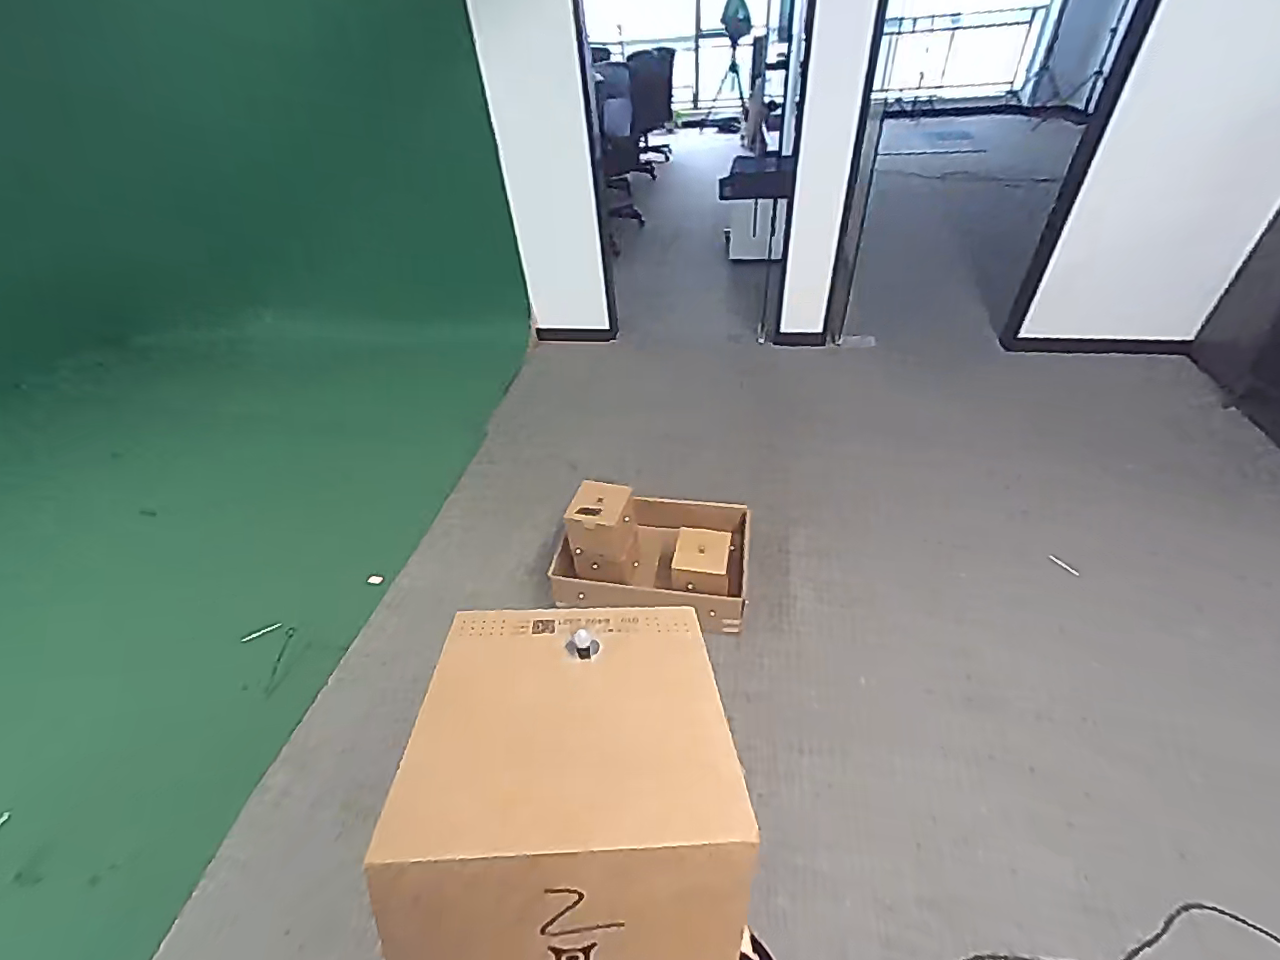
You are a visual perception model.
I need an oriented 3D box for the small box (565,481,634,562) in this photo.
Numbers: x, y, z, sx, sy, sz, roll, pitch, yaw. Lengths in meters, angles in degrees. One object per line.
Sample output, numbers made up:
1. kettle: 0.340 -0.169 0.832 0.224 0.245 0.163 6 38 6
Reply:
1. small box: -0.119 0.132 1.698 0.168 0.176 0.179 9 42 14
